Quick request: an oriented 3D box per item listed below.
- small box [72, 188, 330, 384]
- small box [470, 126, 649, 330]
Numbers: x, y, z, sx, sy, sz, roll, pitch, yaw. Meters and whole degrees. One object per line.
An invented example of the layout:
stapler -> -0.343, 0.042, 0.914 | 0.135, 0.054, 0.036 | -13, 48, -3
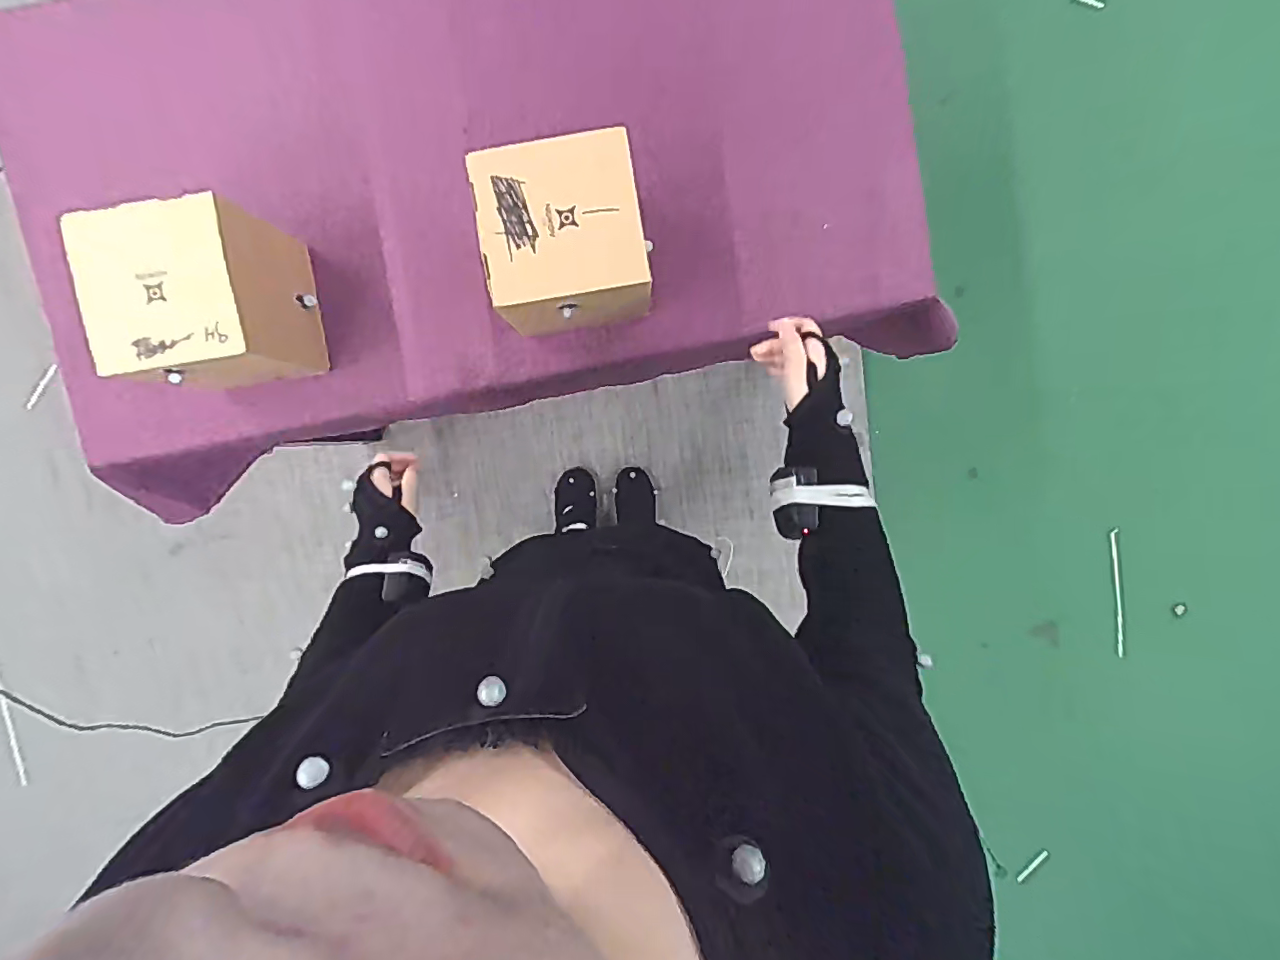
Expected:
small box -> -0.517, -0.223, 0.664 | 0.168, 0.176, 0.179 | -8, 94, 0
small box -> -0.086, -0.290, 0.660 | 0.179, 0.176, 0.168 | -9, 95, 0
